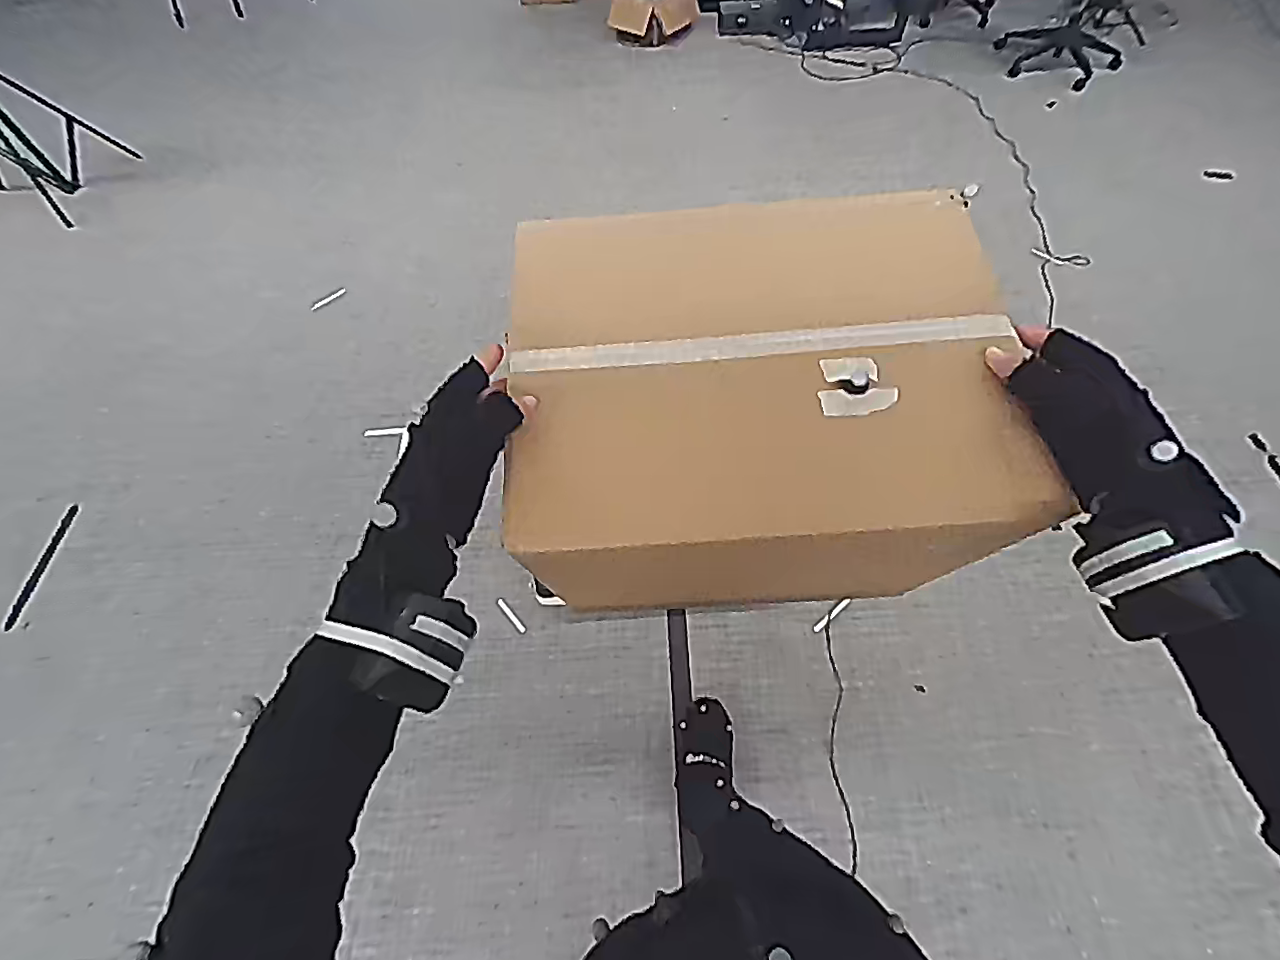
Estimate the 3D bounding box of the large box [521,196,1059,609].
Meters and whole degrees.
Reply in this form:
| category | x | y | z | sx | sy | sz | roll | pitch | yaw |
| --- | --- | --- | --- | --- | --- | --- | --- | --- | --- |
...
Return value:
| category | x | y | z | sx | sy | sz | roll | pitch | yaw |
| --- | --- | --- | --- | --- | --- | --- | --- | --- | --- |
| large box | 0.103 | -0.053 | 0.586 | 0.408 | 0.320 | 0.320 | -4 | 69 | 0 |
